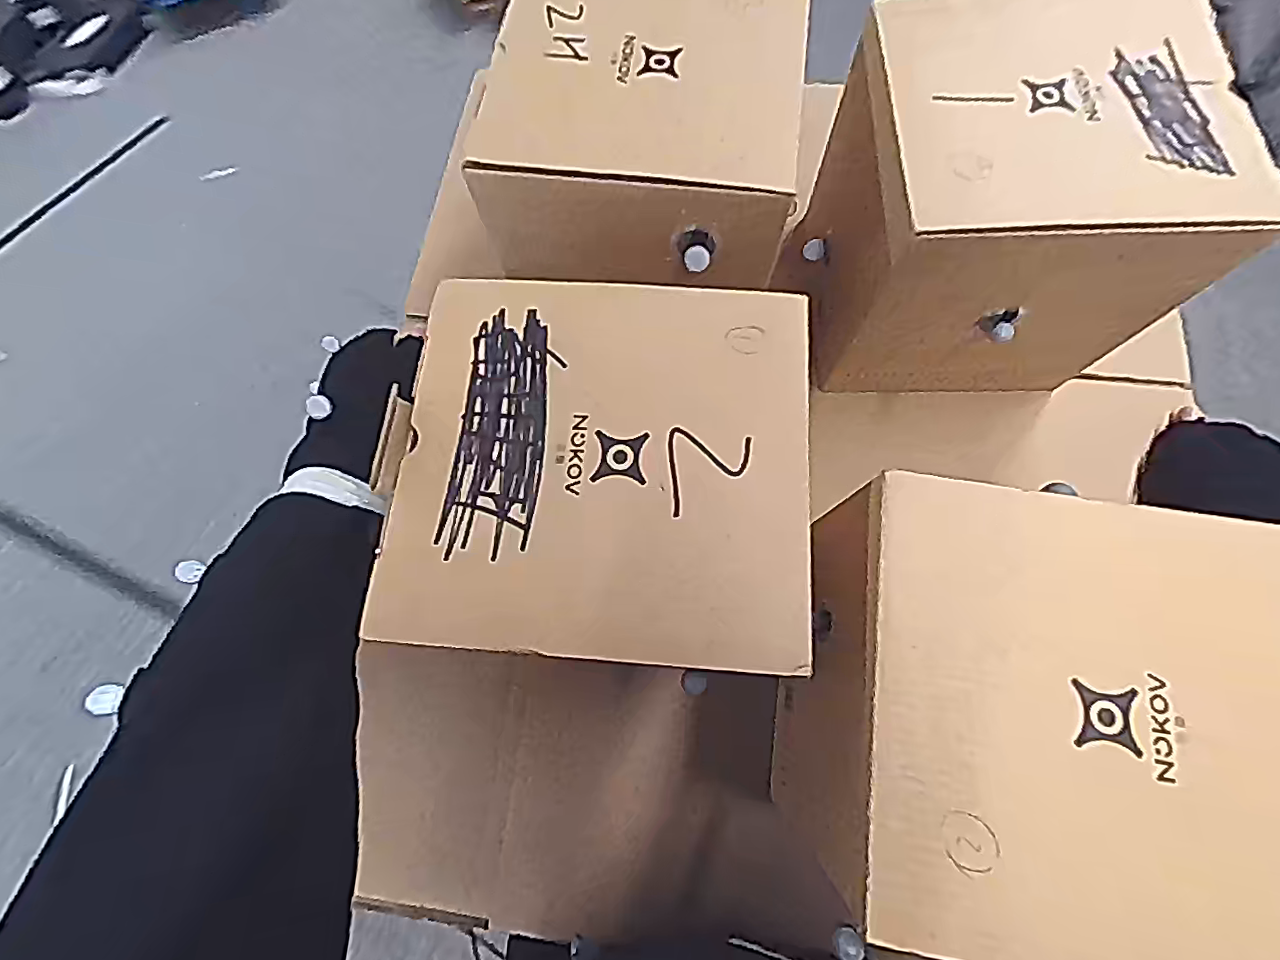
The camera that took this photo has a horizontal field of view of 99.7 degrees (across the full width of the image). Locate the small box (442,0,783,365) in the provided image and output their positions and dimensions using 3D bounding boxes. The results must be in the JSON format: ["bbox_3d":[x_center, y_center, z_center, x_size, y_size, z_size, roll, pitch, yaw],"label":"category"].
[{"bbox_3d":[-0.008,-0.196,0.381,0.179,0.176,0.168,6,72,5],"label":"small box"}]
